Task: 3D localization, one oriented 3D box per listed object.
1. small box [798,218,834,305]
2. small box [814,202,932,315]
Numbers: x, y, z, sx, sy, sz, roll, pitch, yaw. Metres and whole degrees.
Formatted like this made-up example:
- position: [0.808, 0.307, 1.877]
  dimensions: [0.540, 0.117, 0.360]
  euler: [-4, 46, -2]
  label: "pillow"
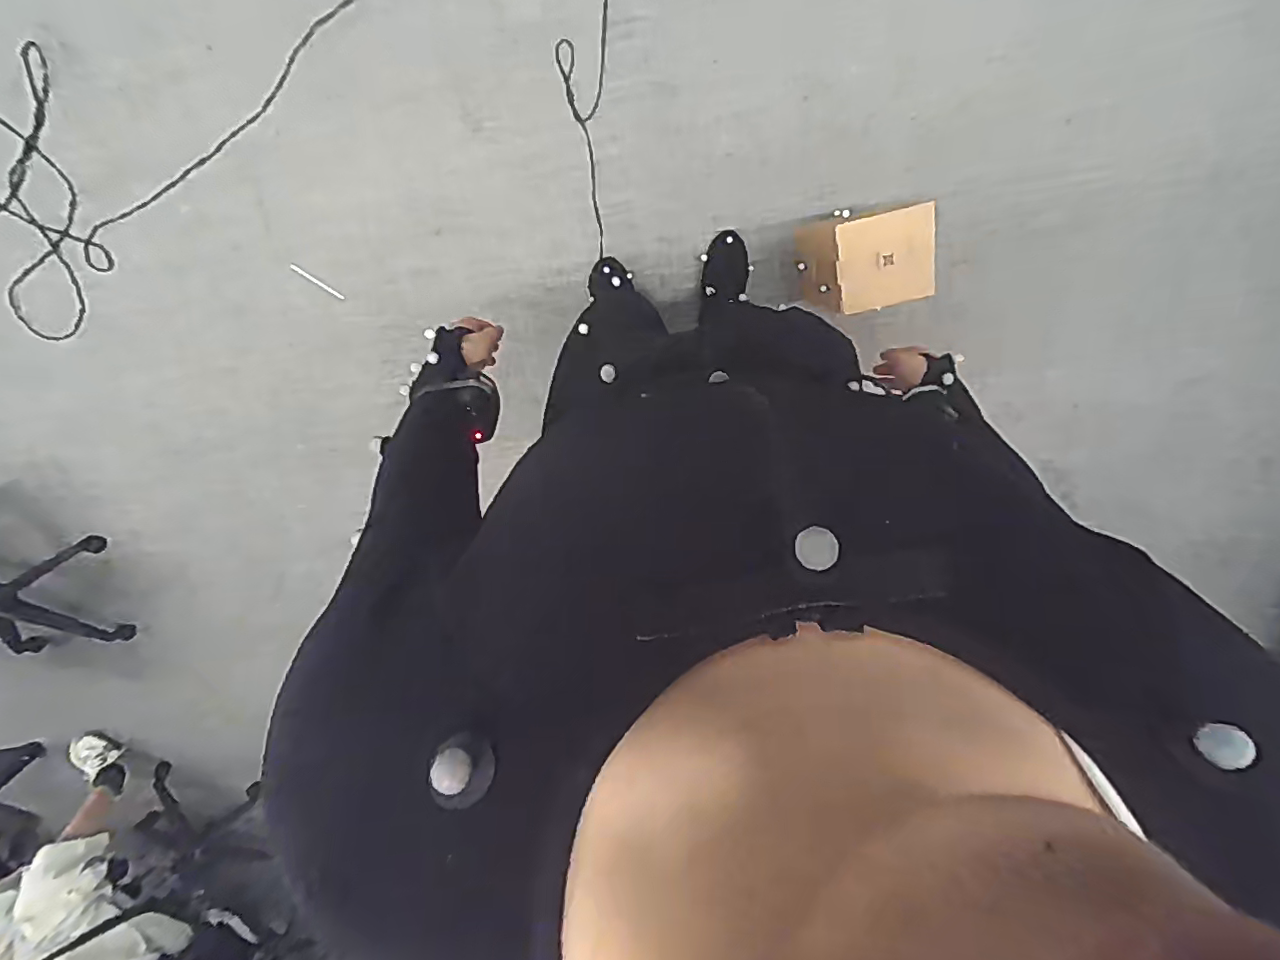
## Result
- position: [0.463, -0.504, 1.227]
  dimensions: [0.179, 0.176, 0.168]
  euler: [-9, 115, 7]
  label: "small box"
- position: [0.455, -0.442, 1.077]
  dimensions: [0.179, 0.176, 0.168]
  euler: [-13, 116, 7]
  label: "small box"
